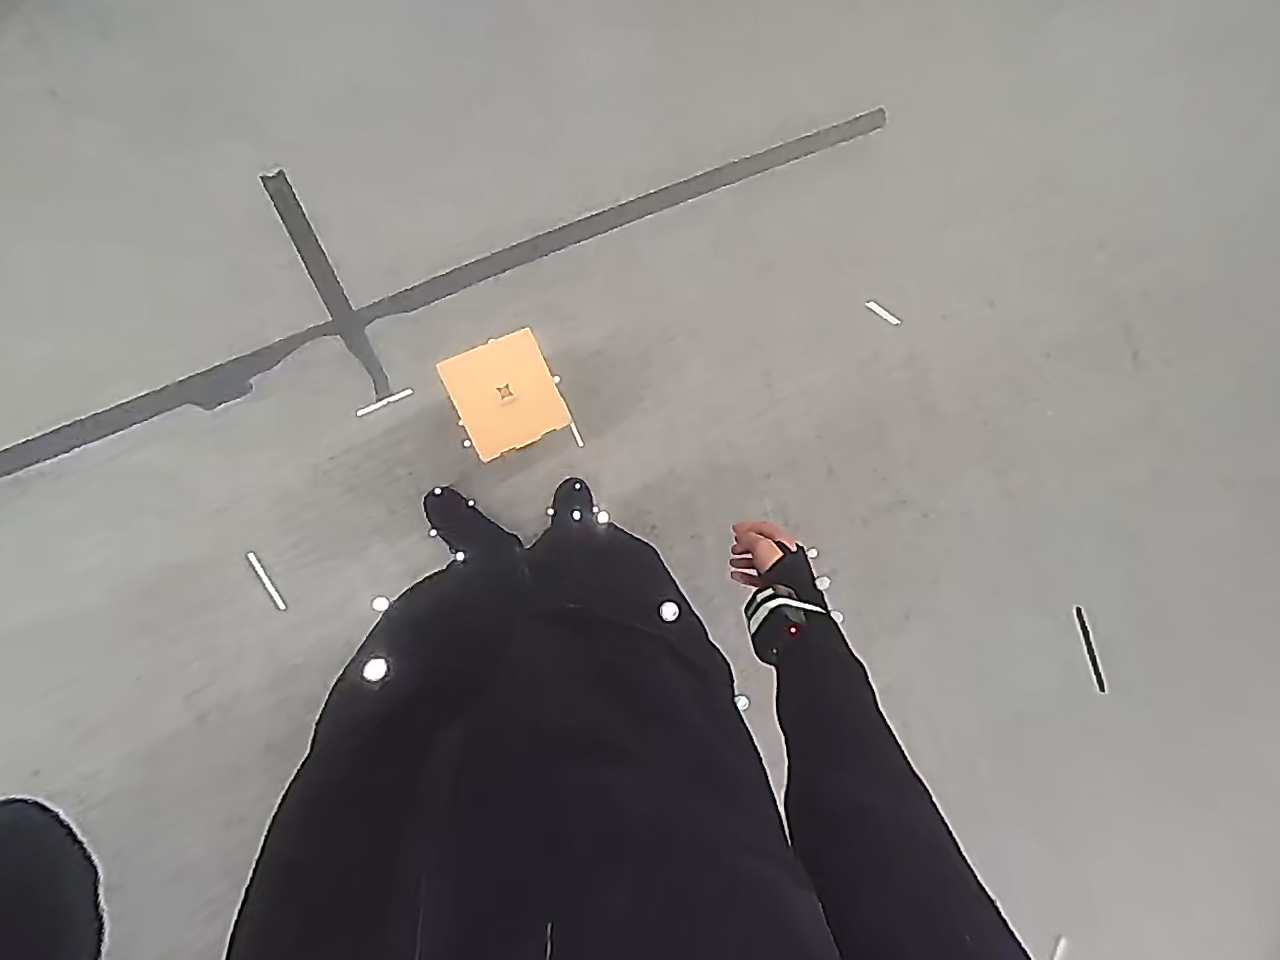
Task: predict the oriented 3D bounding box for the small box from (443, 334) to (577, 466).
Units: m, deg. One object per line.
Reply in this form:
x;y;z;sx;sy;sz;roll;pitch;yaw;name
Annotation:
-0.234;-0.138;0.968;0.168;0.176;0.179;-26;101;-13;small box
